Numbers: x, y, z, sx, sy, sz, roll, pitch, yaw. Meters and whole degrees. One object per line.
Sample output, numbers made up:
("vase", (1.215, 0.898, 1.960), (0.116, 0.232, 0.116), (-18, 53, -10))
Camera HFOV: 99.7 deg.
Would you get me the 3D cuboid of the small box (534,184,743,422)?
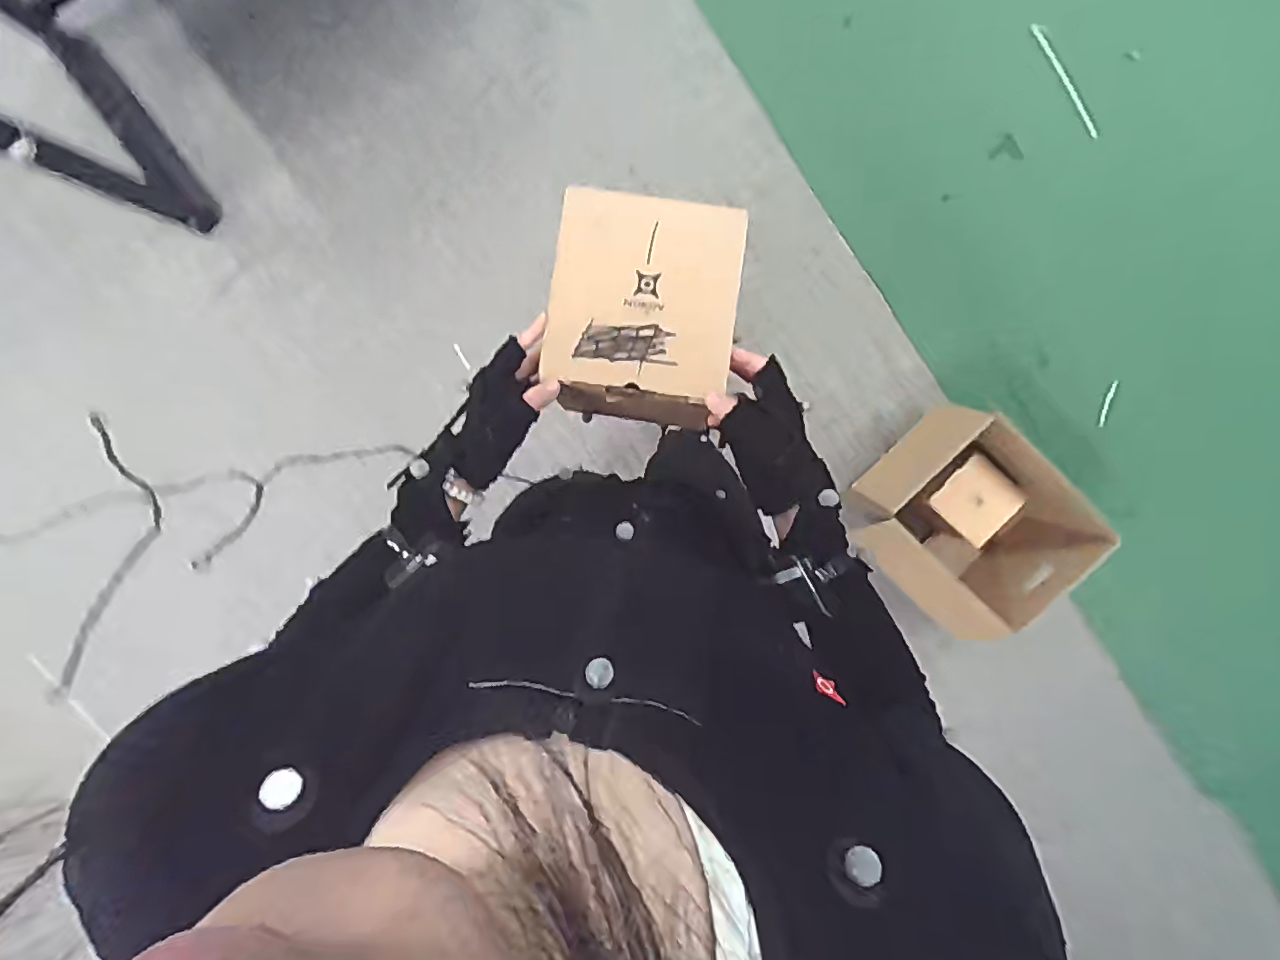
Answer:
("small box", (0.000, -0.161, 0.550), (0.168, 0.176, 0.179), (8, 88, 0))
